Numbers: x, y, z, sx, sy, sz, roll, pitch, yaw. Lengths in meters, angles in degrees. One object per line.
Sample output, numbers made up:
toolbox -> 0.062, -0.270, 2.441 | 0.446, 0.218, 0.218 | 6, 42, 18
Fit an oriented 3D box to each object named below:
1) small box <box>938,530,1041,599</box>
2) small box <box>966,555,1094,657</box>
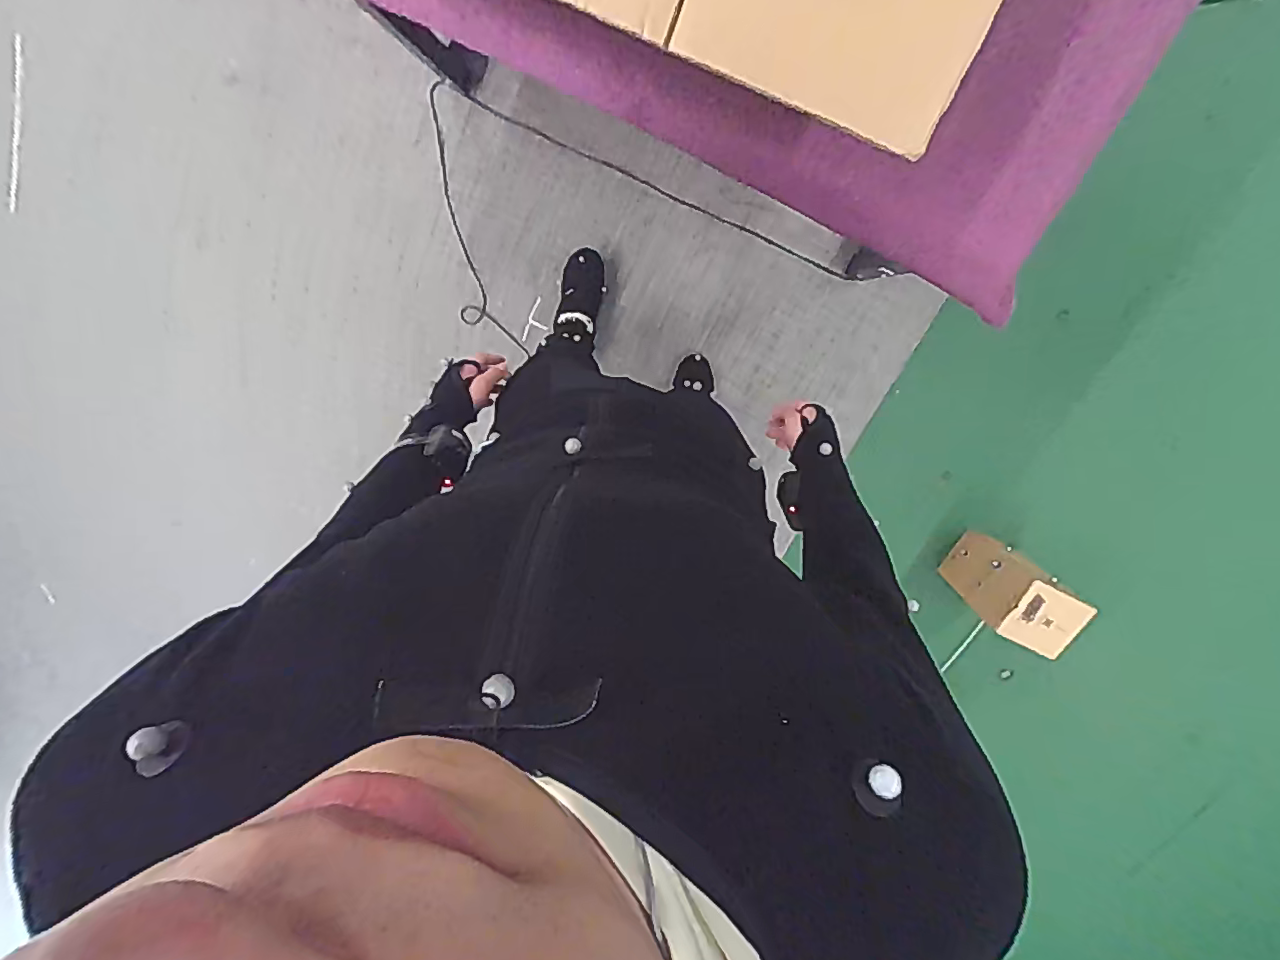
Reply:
small box -> 1.015, 0.269, 1.564 | 0.179, 0.176, 0.168 | 26, 108, -3
small box -> 1.002, 0.318, 1.409 | 0.179, 0.176, 0.168 | 25, 108, -4
